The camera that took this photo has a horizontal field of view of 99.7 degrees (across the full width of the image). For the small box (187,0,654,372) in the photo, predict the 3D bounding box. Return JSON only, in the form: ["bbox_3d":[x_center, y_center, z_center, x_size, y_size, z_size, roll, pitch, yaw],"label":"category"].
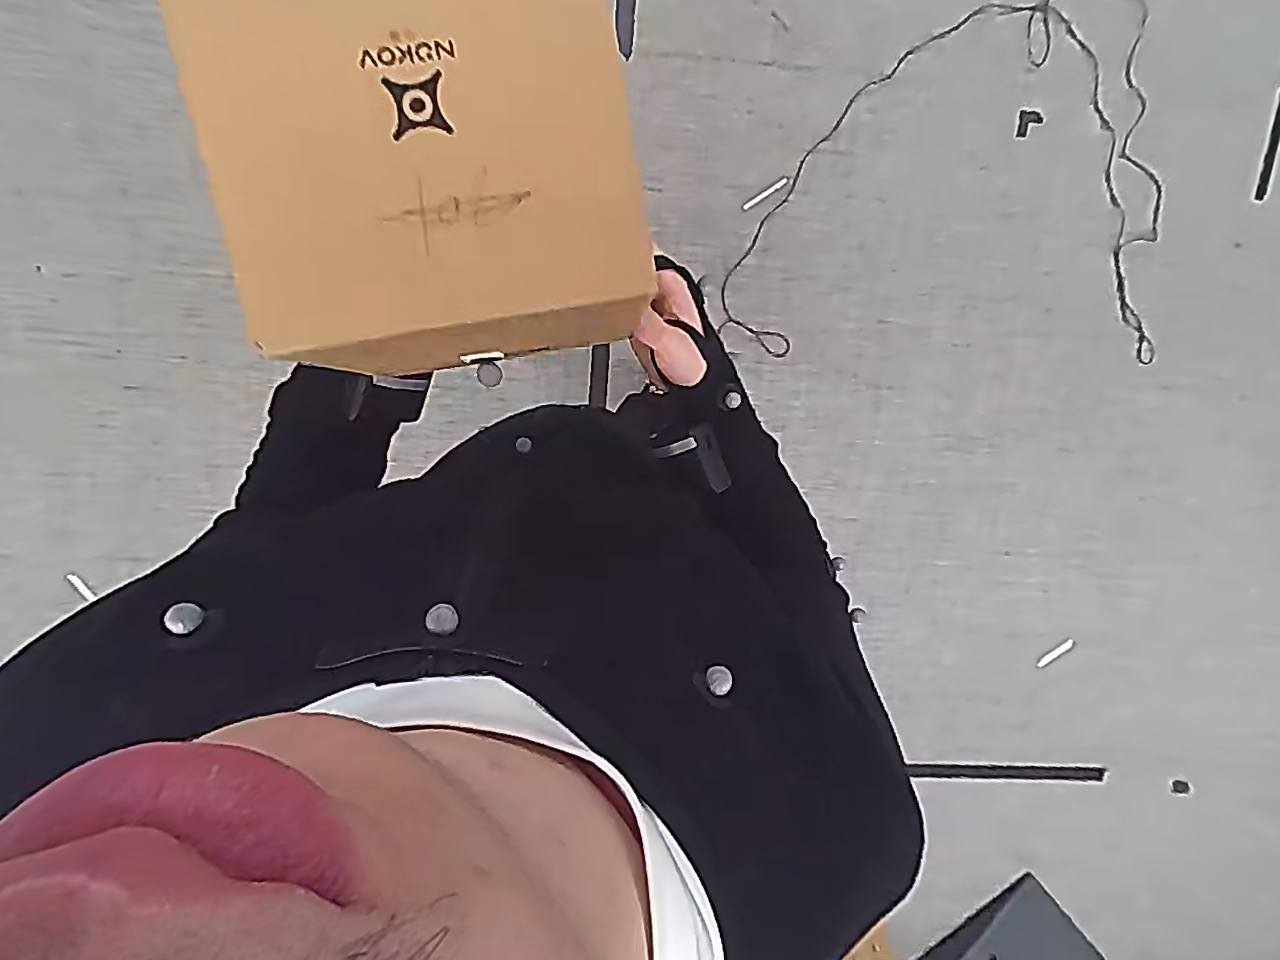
[{"bbox_3d":[-0.095,-0.165,0.300,0.168,0.176,0.179,-11,98,-4],"label":"small box"}]
